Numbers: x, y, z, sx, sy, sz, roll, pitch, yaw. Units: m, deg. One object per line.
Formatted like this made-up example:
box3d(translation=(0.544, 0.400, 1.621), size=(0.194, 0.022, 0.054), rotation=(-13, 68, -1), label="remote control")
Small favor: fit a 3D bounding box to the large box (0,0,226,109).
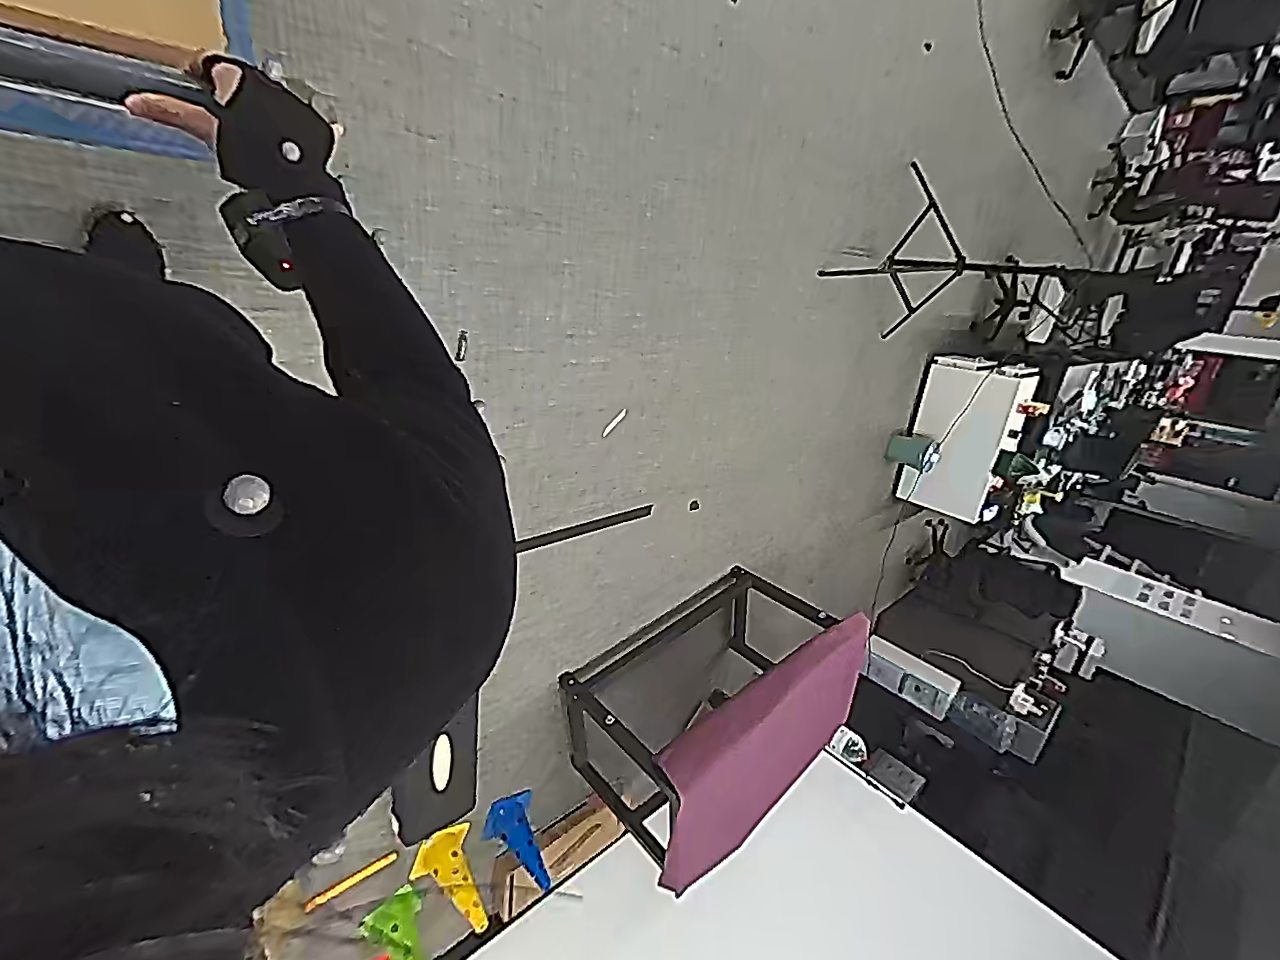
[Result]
box3d(translation=(-0.797, -0.698, 0.653), size=(0.408, 0.320, 0.320), rotation=(-13, 118, -41), label="large box")
